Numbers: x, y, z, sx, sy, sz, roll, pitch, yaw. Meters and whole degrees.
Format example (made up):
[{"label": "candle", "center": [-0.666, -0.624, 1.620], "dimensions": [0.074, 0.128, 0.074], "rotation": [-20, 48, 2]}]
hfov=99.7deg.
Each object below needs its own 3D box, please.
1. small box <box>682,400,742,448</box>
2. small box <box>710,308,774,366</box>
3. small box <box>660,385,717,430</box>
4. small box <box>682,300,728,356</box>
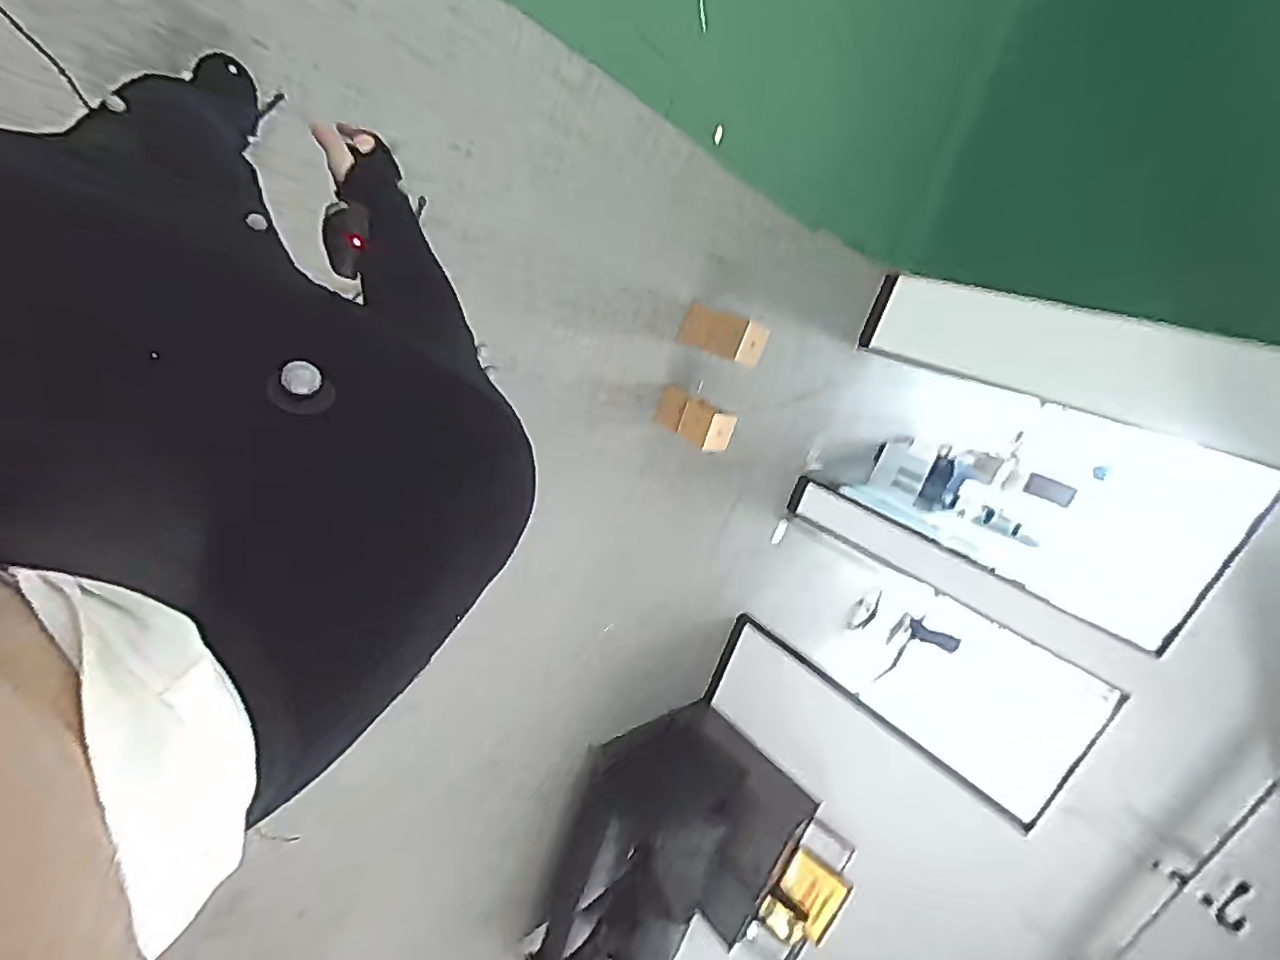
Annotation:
[{"label": "small box", "center": [0.313, -0.248, 2.373], "dimensions": [0.179, 0.176, 0.168], "rotation": [-4, 118, -46]}, {"label": "small box", "center": [0.420, -0.597, 2.245], "dimensions": [0.168, 0.176, 0.179], "rotation": [5, 112, -47]}, {"label": "small box", "center": [0.220, -0.322, 2.484], "dimensions": [0.168, 0.176, 0.179], "rotation": [1, 115, -47]}, {"label": "small box", "center": [0.309, -0.660, 2.350], "dimensions": [0.168, 0.176, 0.179], "rotation": [3, 113, -48]}]
